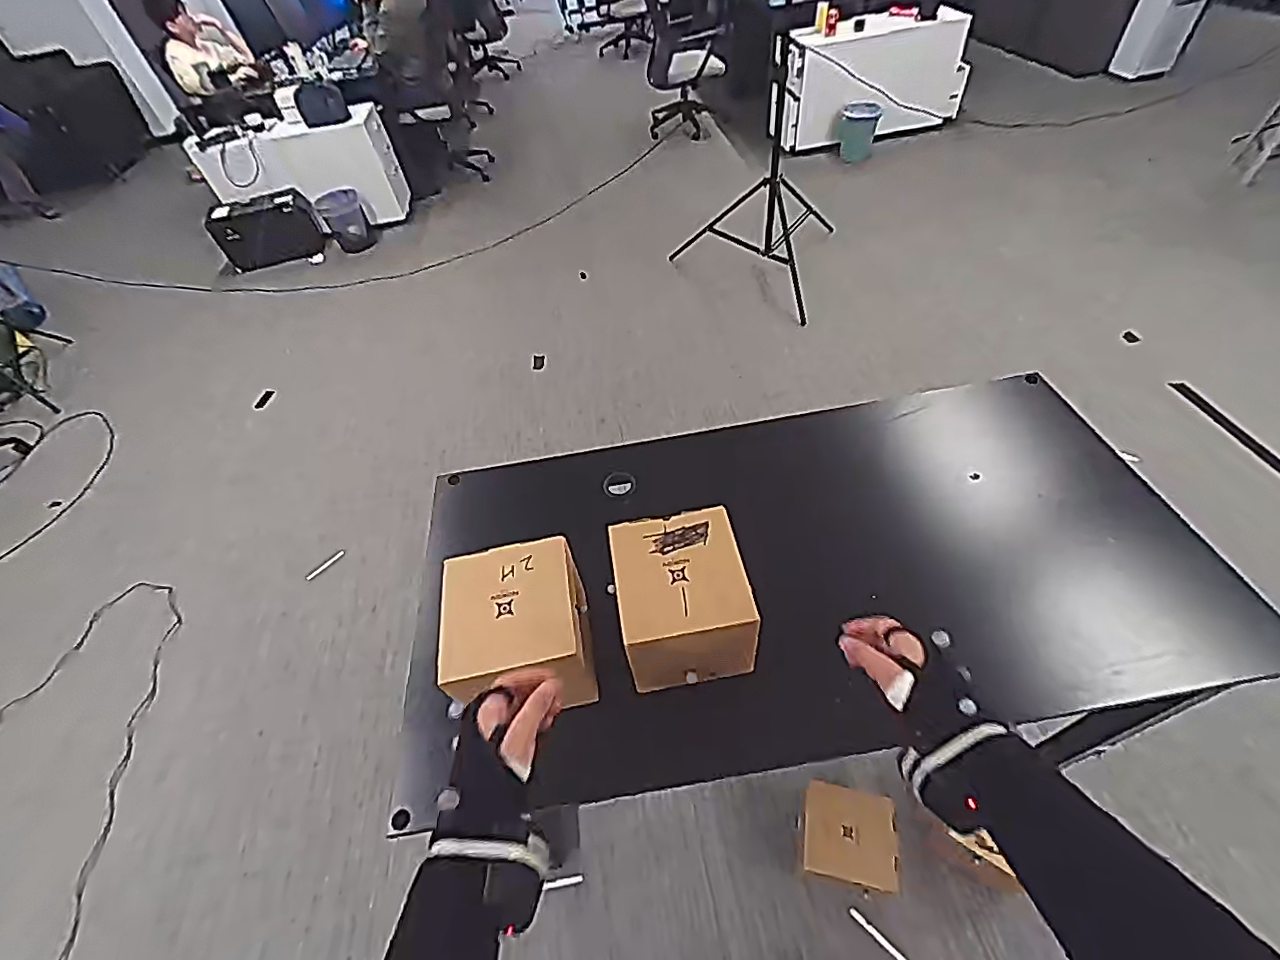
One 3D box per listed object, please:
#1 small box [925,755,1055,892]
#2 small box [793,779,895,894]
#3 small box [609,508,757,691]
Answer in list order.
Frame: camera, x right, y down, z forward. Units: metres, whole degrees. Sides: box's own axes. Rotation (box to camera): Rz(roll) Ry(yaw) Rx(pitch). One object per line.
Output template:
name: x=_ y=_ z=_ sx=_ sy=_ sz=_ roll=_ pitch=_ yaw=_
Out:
small box: x=0.730 y=0.727 z=1.143 sx=0.168 sy=0.176 sz=0.179 roll=25 pitch=58 yaw=26
small box: x=0.429 y=0.765 z=1.156 sx=0.179 sy=0.176 sz=0.168 roll=5 pitch=51 yaw=13
small box: x=0.055 y=0.167 z=0.750 sx=0.168 sy=0.176 sz=0.179 roll=-11 pitch=50 yaw=-1
